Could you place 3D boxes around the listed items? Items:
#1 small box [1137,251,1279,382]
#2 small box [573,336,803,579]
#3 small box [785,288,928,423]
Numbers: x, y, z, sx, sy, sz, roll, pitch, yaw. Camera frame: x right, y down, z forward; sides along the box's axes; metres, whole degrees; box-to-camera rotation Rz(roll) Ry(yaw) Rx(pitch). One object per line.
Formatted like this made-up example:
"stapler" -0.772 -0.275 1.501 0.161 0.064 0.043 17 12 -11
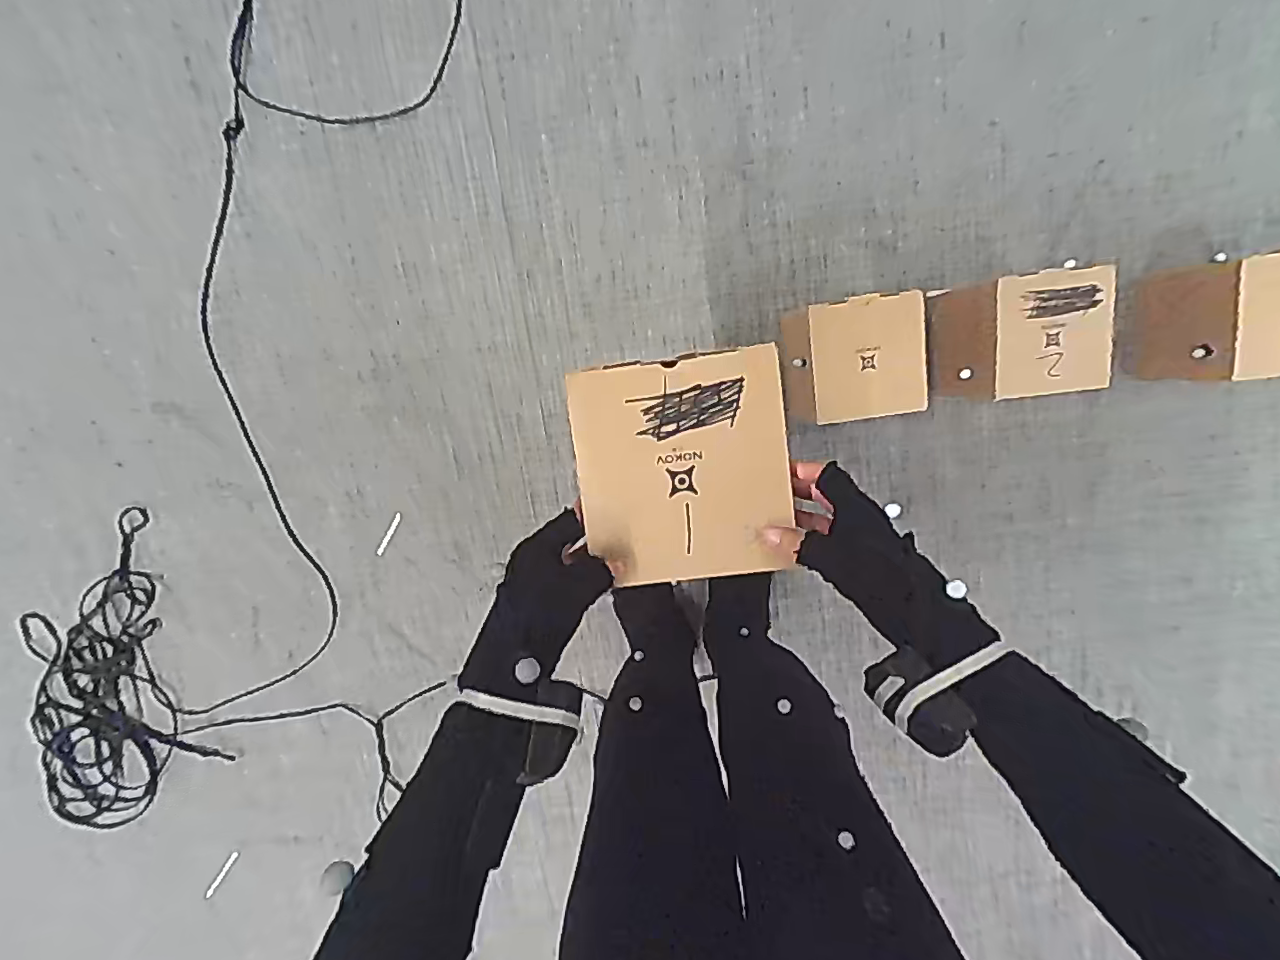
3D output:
"small box" 0.924 -0.251 0.836 0.168 0.176 0.179 -8 101 3
"small box" 0.043 -0.021 0.499 0.168 0.176 0.179 -7 95 6
"small box" 0.337 -0.194 0.864 0.168 0.176 0.179 -8 100 3
